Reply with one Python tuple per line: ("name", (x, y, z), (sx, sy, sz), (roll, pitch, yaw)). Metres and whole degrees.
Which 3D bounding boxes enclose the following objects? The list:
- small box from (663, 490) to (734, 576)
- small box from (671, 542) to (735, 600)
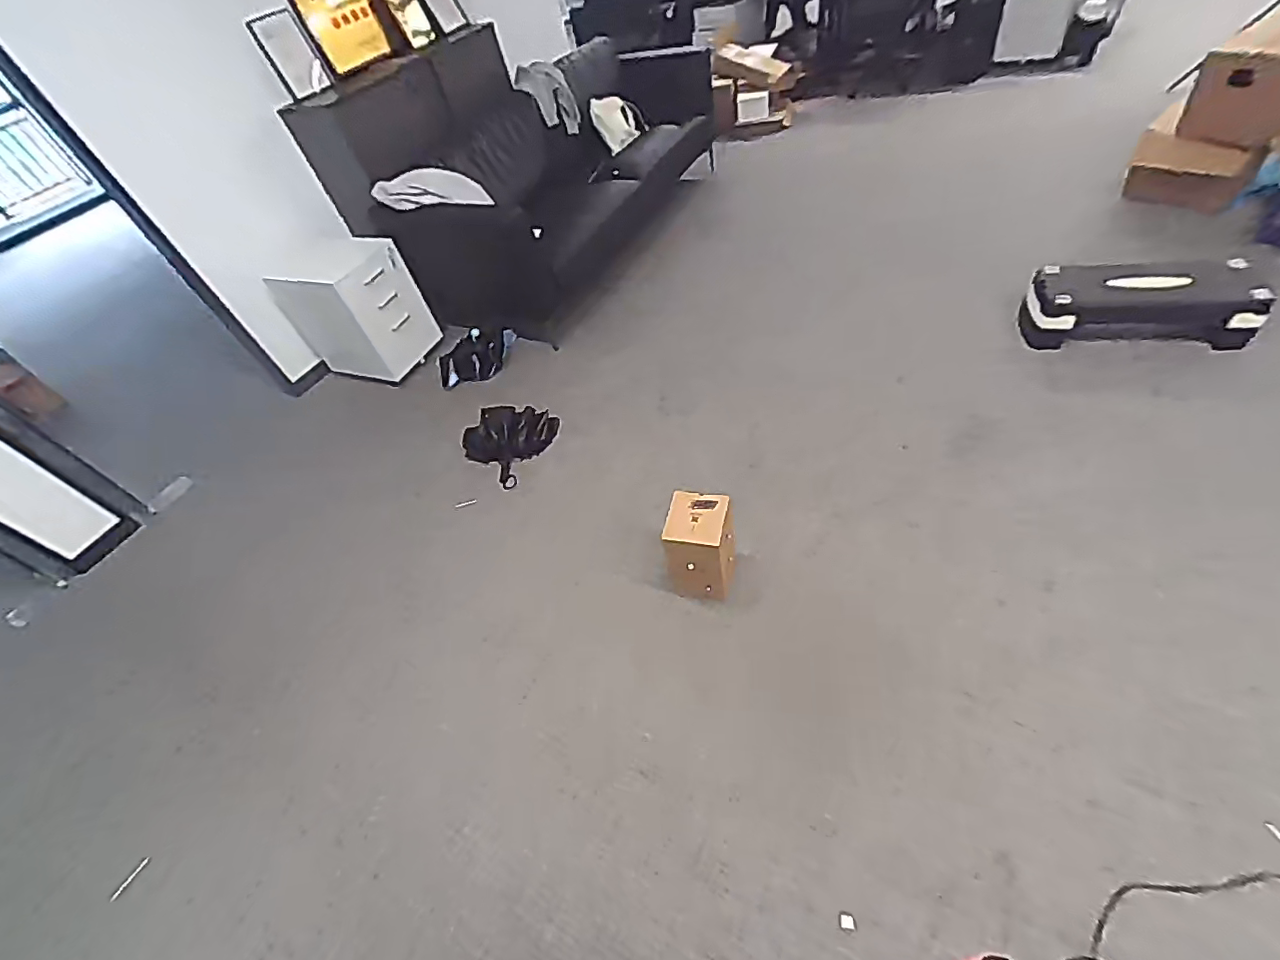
("small box", (0.178, 0.154, 1.576), (0.168, 0.176, 0.179), (5, 53, 19))
("small box", (0.205, 0.257, 1.702), (0.168, 0.176, 0.179), (5, 50, 18))
